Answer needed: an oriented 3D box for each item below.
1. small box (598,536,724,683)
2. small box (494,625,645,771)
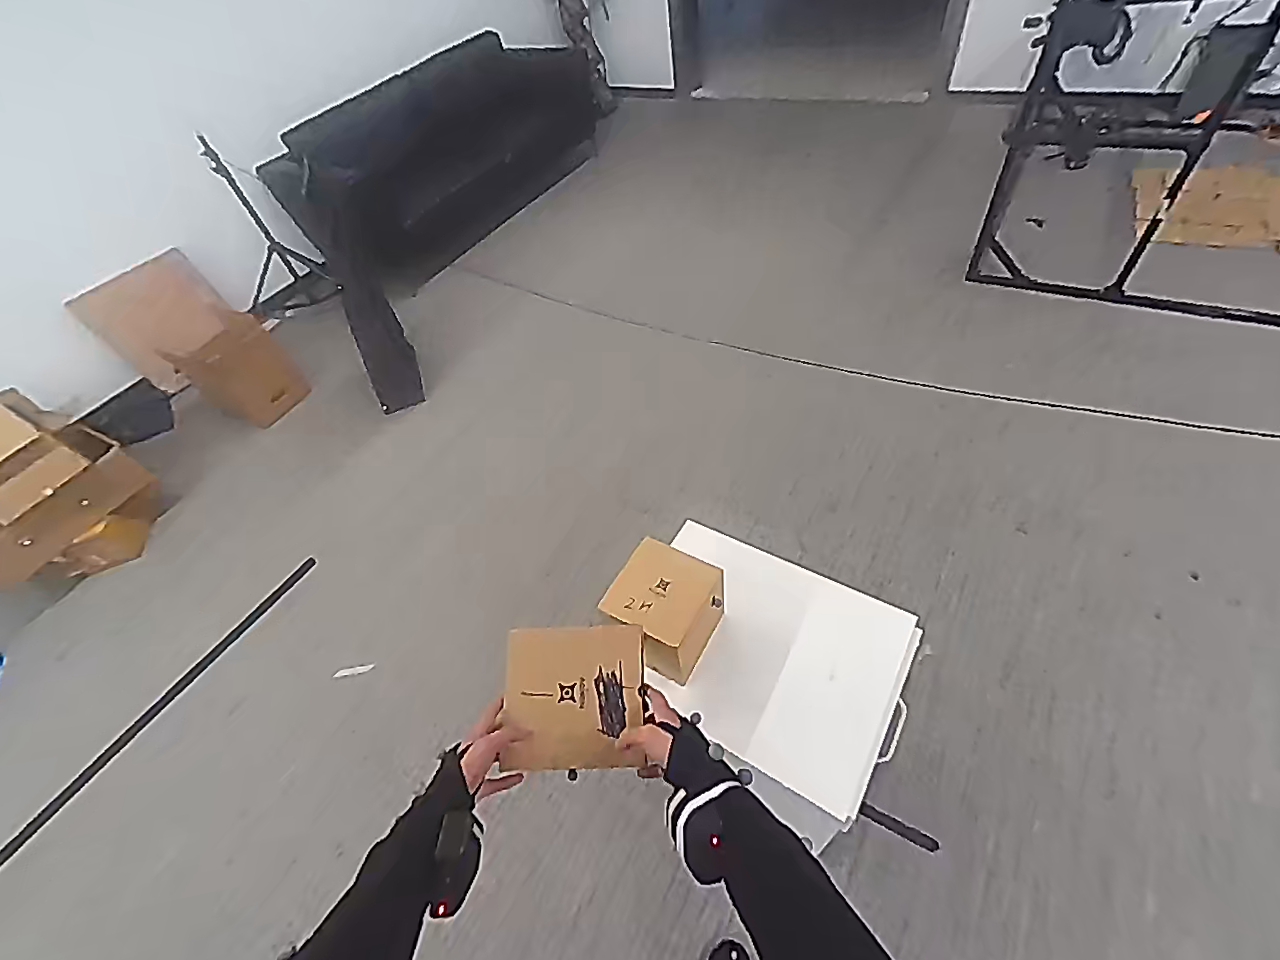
[{"bbox_3d":[0.046,0.243,1.010,0.168,0.176,0.179,21,57,26],"label":"small box"},{"bbox_3d":[-0.082,0.293,0.729,0.179,0.176,0.168,-2,64,1],"label":"small box"}]
